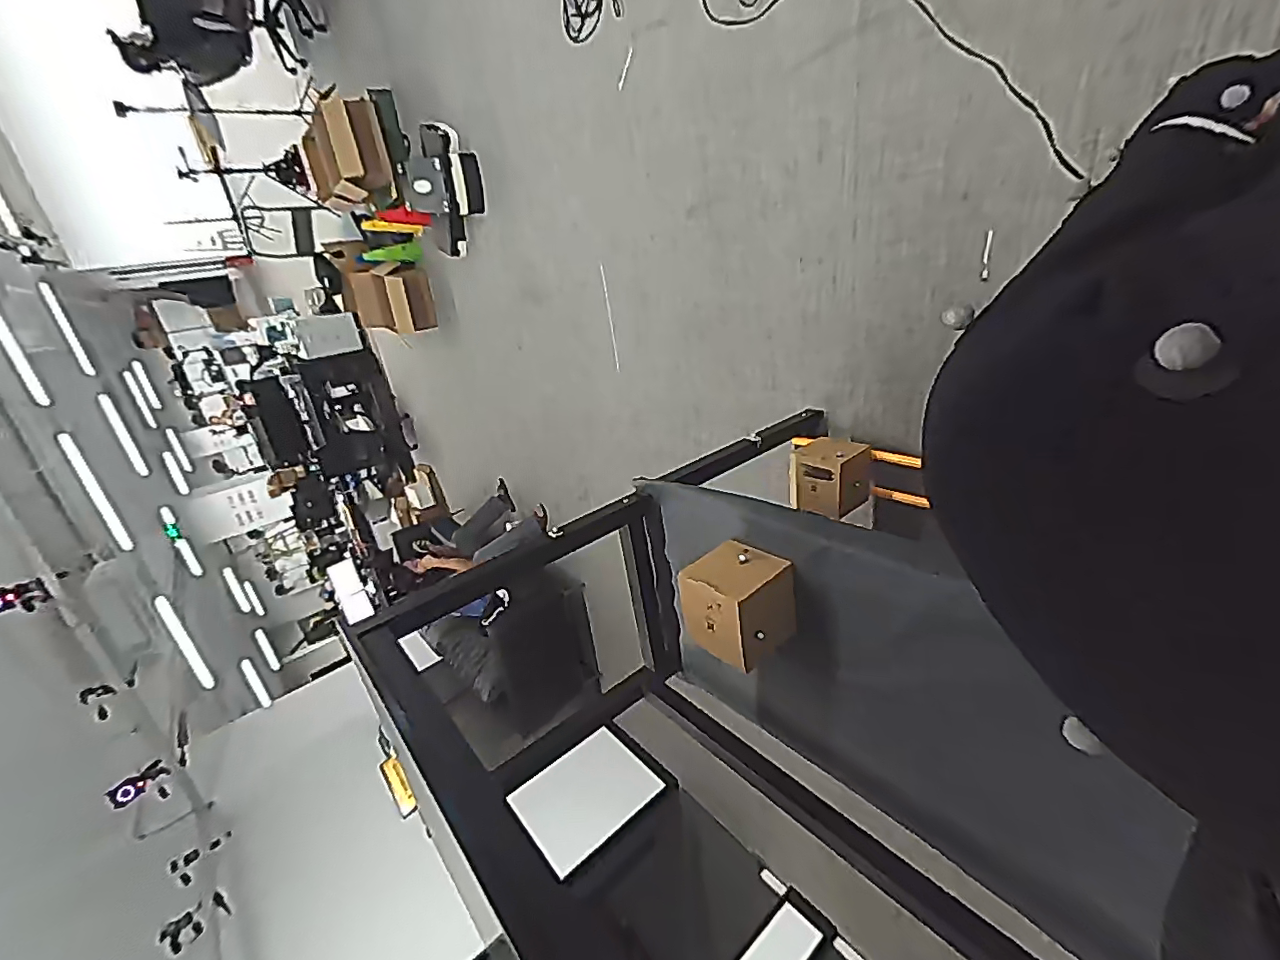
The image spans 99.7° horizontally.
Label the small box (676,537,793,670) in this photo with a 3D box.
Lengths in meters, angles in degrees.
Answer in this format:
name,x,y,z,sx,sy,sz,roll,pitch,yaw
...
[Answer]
name,x,y,z,sx,sy,sz,roll,pitch,yaw
small box,0.199,0.244,1.113,0.168,0.176,0.179,17,125,47
